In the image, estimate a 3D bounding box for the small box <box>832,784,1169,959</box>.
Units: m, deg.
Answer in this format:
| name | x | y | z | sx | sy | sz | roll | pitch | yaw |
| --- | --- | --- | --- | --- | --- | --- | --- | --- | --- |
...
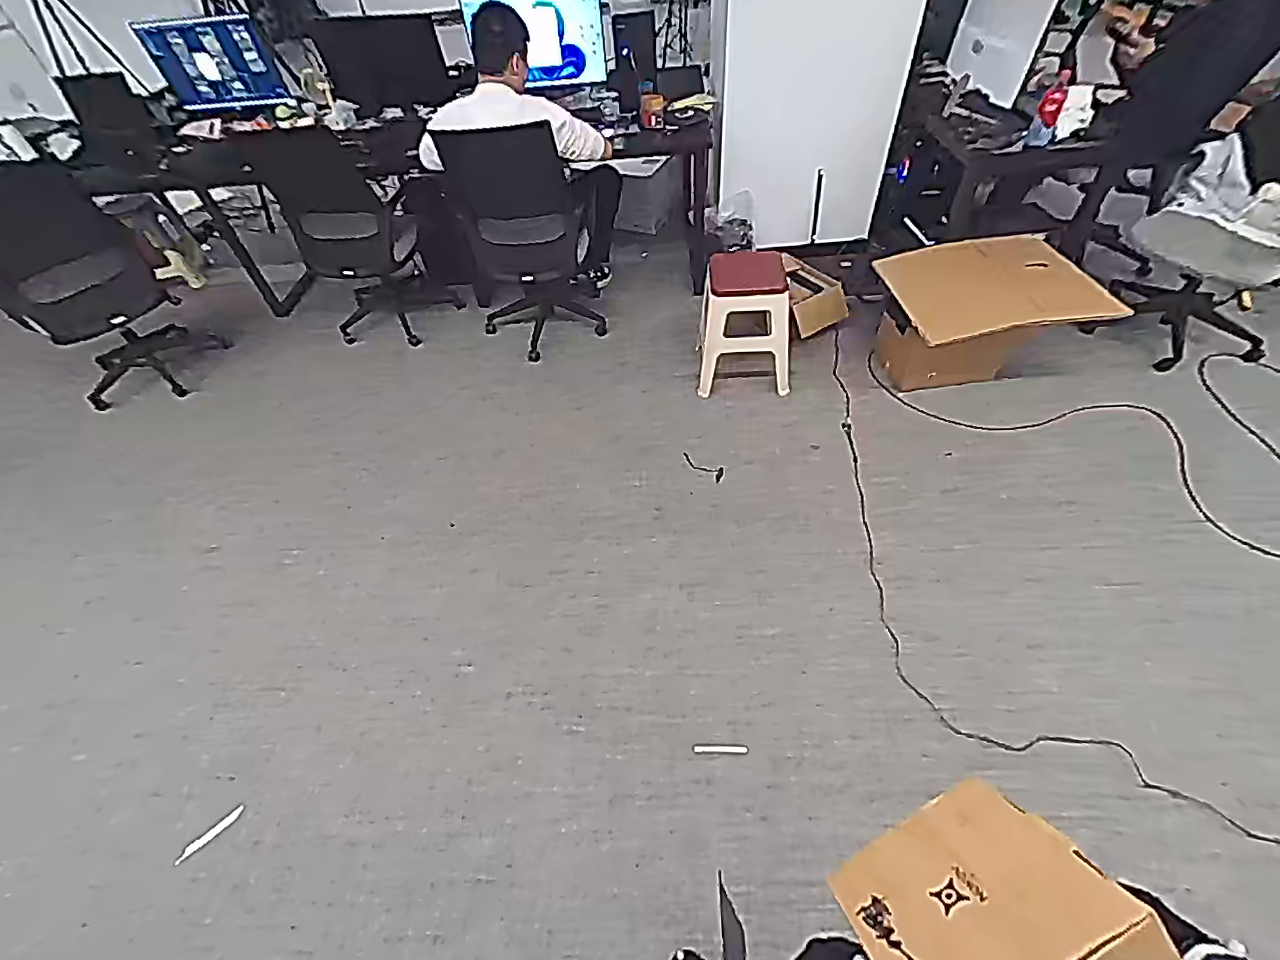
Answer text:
| name | x | y | z | sx | sy | sz | roll | pitch | yaw |
| --- | --- | --- | --- | --- | --- | --- | --- | --- | --- |
| small box | 0.298 | 0.403 | 0.438 | 0.179 | 0.168 | 0.176 | -30 | 91 | -4 |
